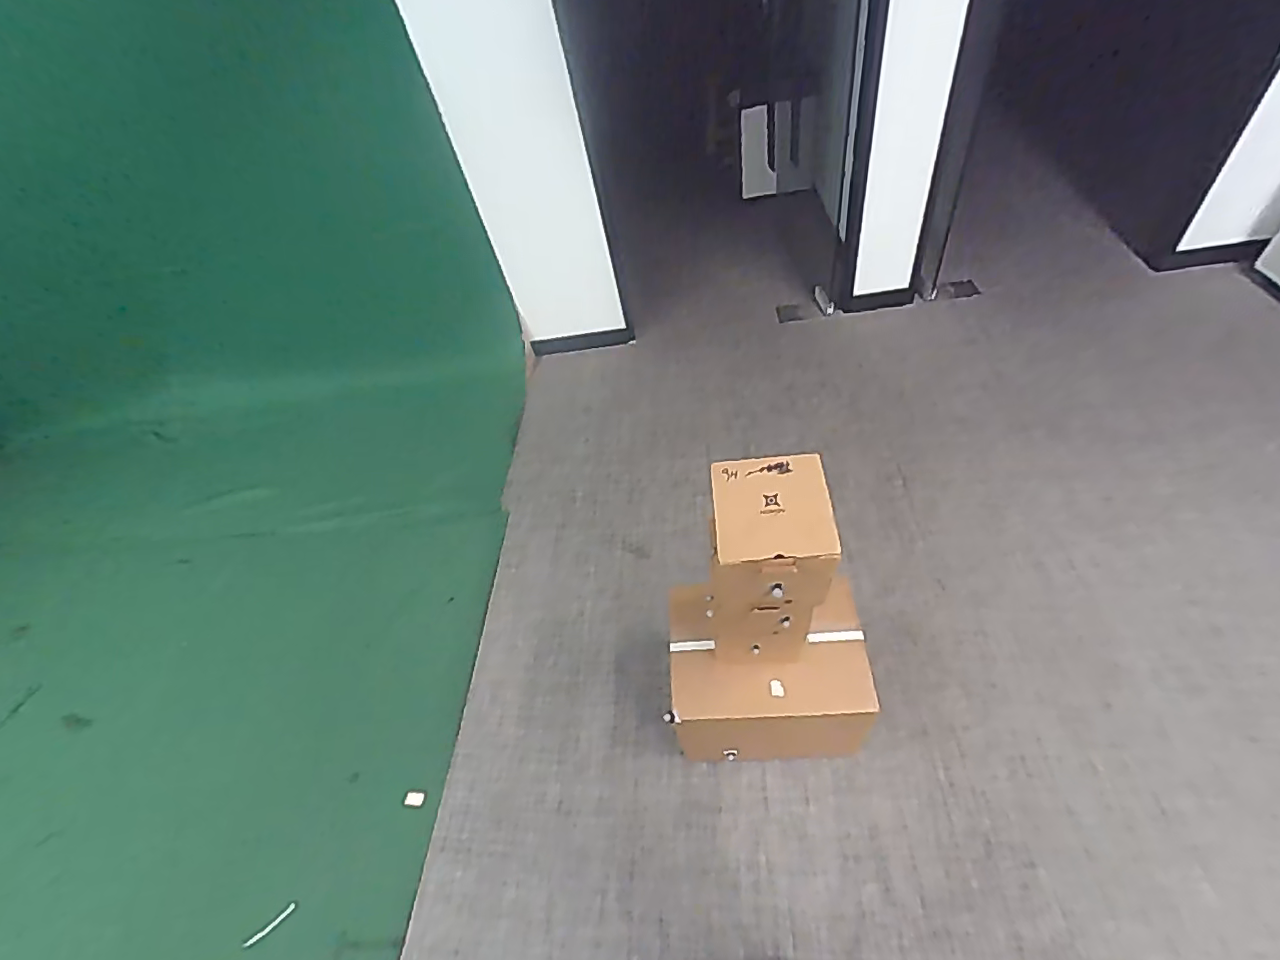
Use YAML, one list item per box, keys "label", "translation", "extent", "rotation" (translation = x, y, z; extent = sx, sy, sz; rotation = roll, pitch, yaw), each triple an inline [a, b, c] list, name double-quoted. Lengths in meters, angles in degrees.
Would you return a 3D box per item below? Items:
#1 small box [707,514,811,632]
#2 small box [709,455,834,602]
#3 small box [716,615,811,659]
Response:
- label: "small box"
  translation: [0.215, 0.171, 0.988]
  extent: [0.168, 0.176, 0.179]
  rotation: [-5, 54, 8]
- label: "small box"
  translation: [0.200, 0.084, 0.850]
  extent: [0.168, 0.176, 0.179]
  rotation: [-5, 55, 8]
- label: "small box"
  translation: [0.244, 0.262, 1.119]
  extent: [0.179, 0.176, 0.168]
  rotation: [-7, 55, 8]
